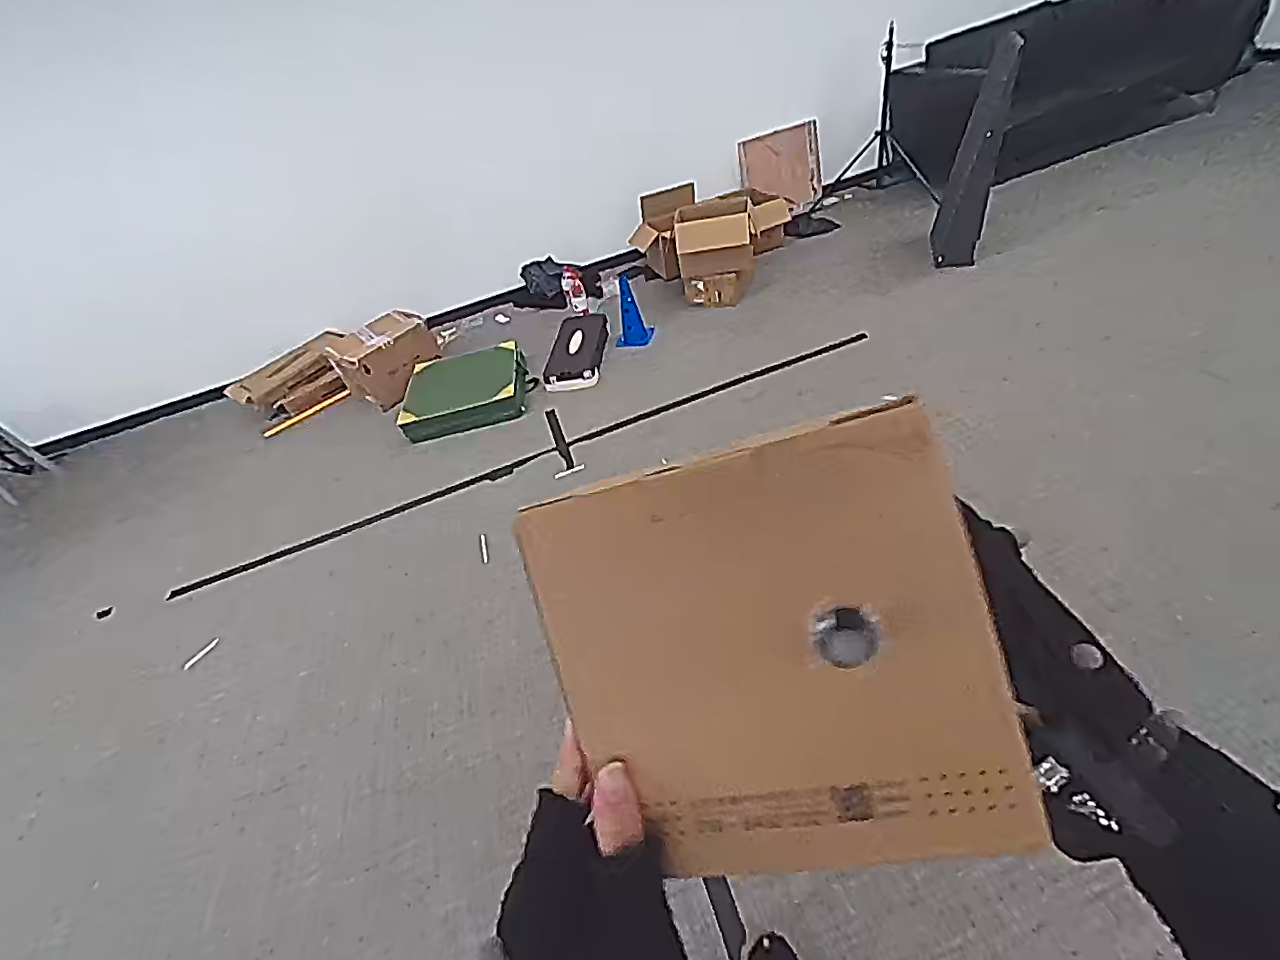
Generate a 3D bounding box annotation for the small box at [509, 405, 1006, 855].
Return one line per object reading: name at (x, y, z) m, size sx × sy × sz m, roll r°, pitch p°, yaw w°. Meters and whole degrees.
small box at (0.064, 0.067, 0.291) m, size 0.168 × 0.176 × 0.179 m, roll -16°, pitch 2°, yaw 19°
